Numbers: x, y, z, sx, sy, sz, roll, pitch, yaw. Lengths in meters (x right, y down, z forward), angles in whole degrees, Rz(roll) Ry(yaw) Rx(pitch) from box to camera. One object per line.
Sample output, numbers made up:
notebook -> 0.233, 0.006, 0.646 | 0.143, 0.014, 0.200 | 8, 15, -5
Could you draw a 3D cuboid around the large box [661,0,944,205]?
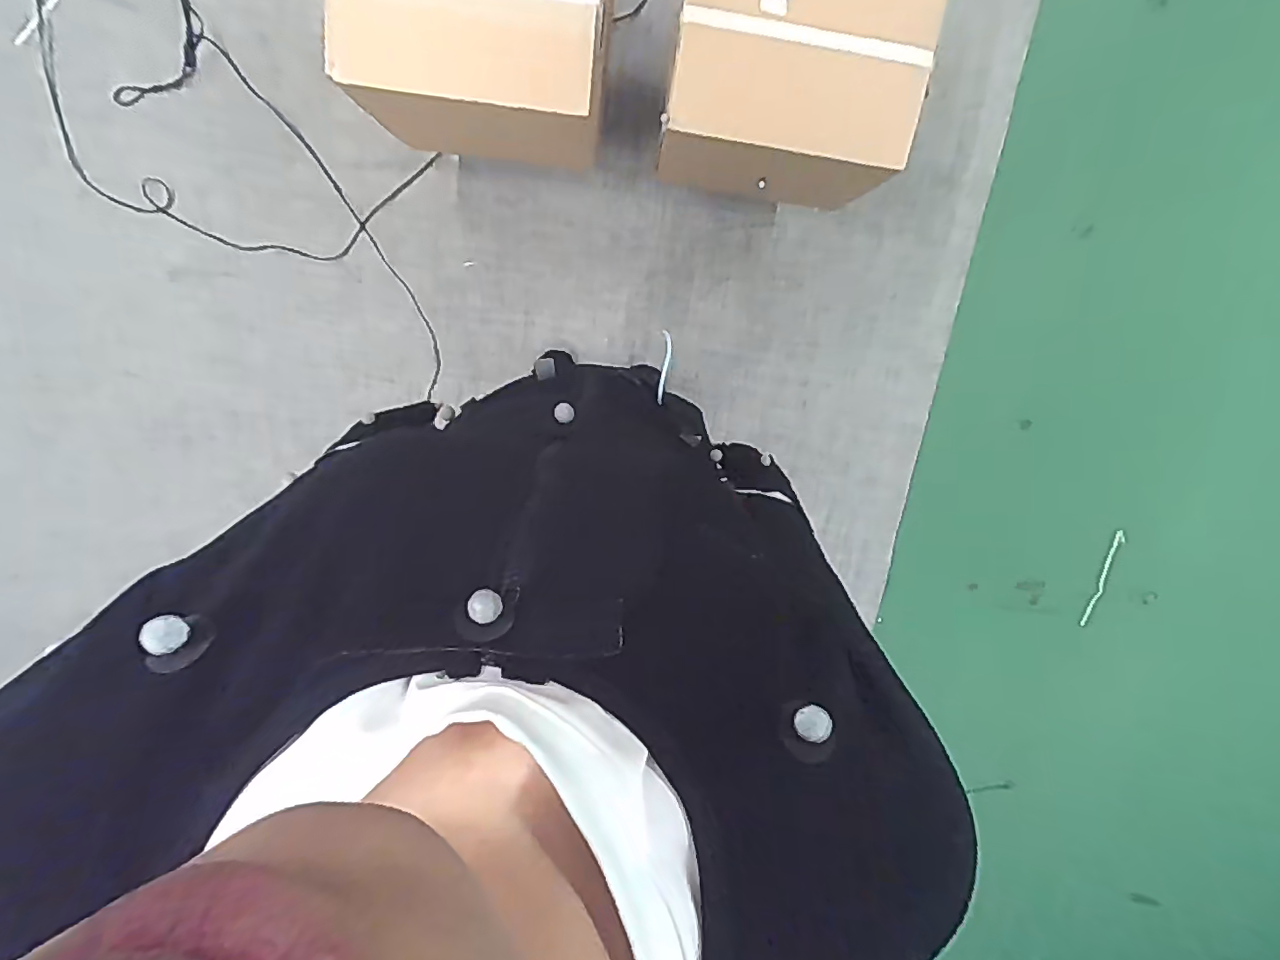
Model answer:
large box -> 0.266, -0.732, 1.002 | 0.408, 0.320, 0.320 | 8, 105, -3
